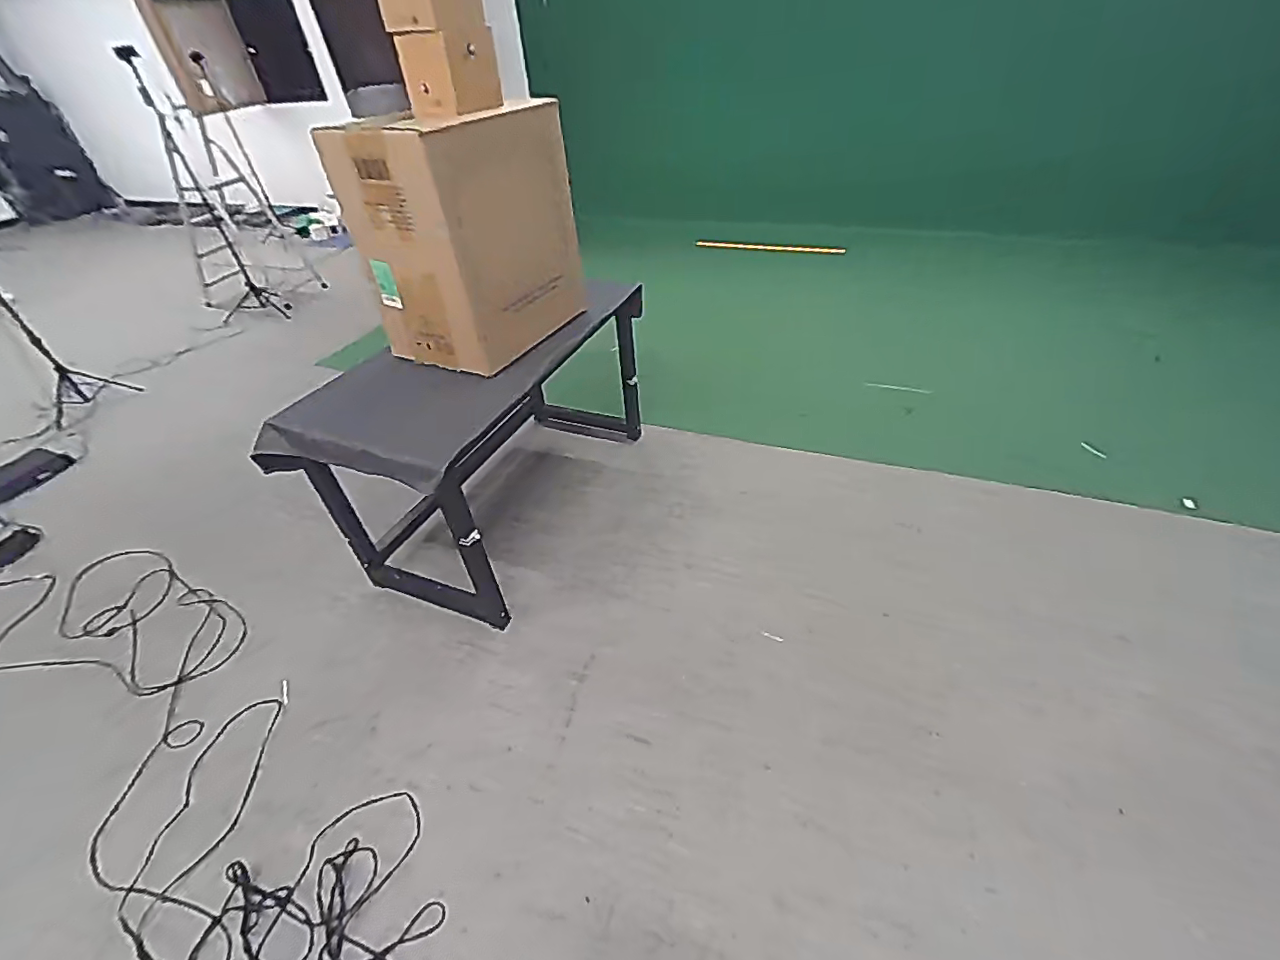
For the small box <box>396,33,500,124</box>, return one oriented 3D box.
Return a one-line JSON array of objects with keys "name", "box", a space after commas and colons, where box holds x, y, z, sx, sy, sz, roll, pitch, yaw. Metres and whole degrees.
[{"name": "small box", "box": [-0.475, -1.021, 1.370, 0.168, 0.176, 0.179, 19, 46, 23]}]
